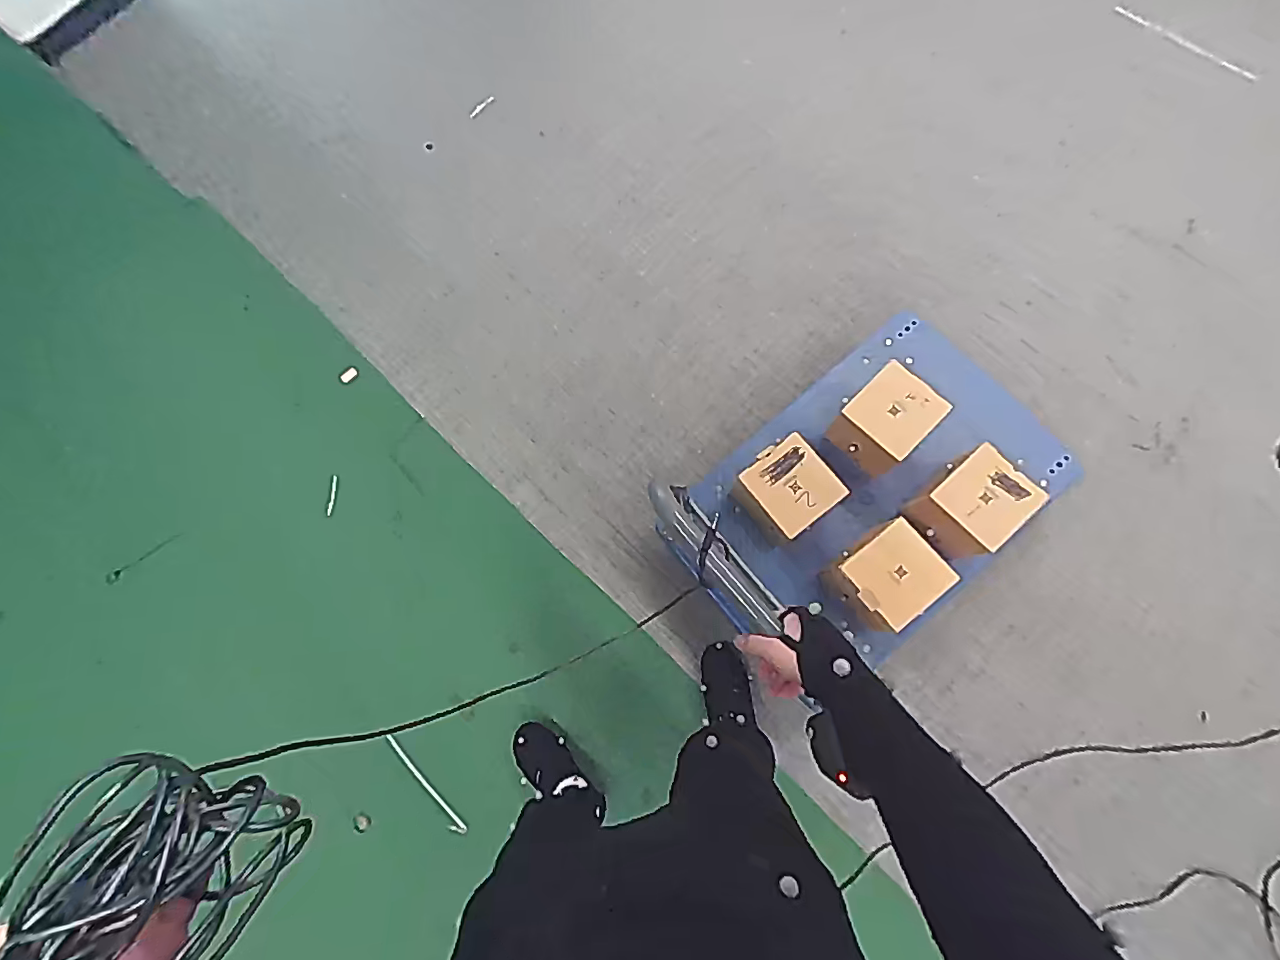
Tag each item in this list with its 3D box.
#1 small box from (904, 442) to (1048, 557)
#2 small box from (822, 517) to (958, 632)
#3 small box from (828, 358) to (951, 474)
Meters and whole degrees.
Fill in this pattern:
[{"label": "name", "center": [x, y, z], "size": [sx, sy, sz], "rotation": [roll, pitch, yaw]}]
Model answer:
[{"label": "small box", "center": [0.720, 0.050, 1.184], "size": [0.179, 0.176, 0.168], "rotation": [-42, 77, -5]}, {"label": "small box", "center": [0.525, 0.204, 1.165], "size": [0.179, 0.176, 0.168], "rotation": [-38, 78, -4]}, {"label": "small box", "center": [0.556, -0.137, 1.237], "size": [0.179, 0.176, 0.168], "rotation": [-44, 79, -6]}]
